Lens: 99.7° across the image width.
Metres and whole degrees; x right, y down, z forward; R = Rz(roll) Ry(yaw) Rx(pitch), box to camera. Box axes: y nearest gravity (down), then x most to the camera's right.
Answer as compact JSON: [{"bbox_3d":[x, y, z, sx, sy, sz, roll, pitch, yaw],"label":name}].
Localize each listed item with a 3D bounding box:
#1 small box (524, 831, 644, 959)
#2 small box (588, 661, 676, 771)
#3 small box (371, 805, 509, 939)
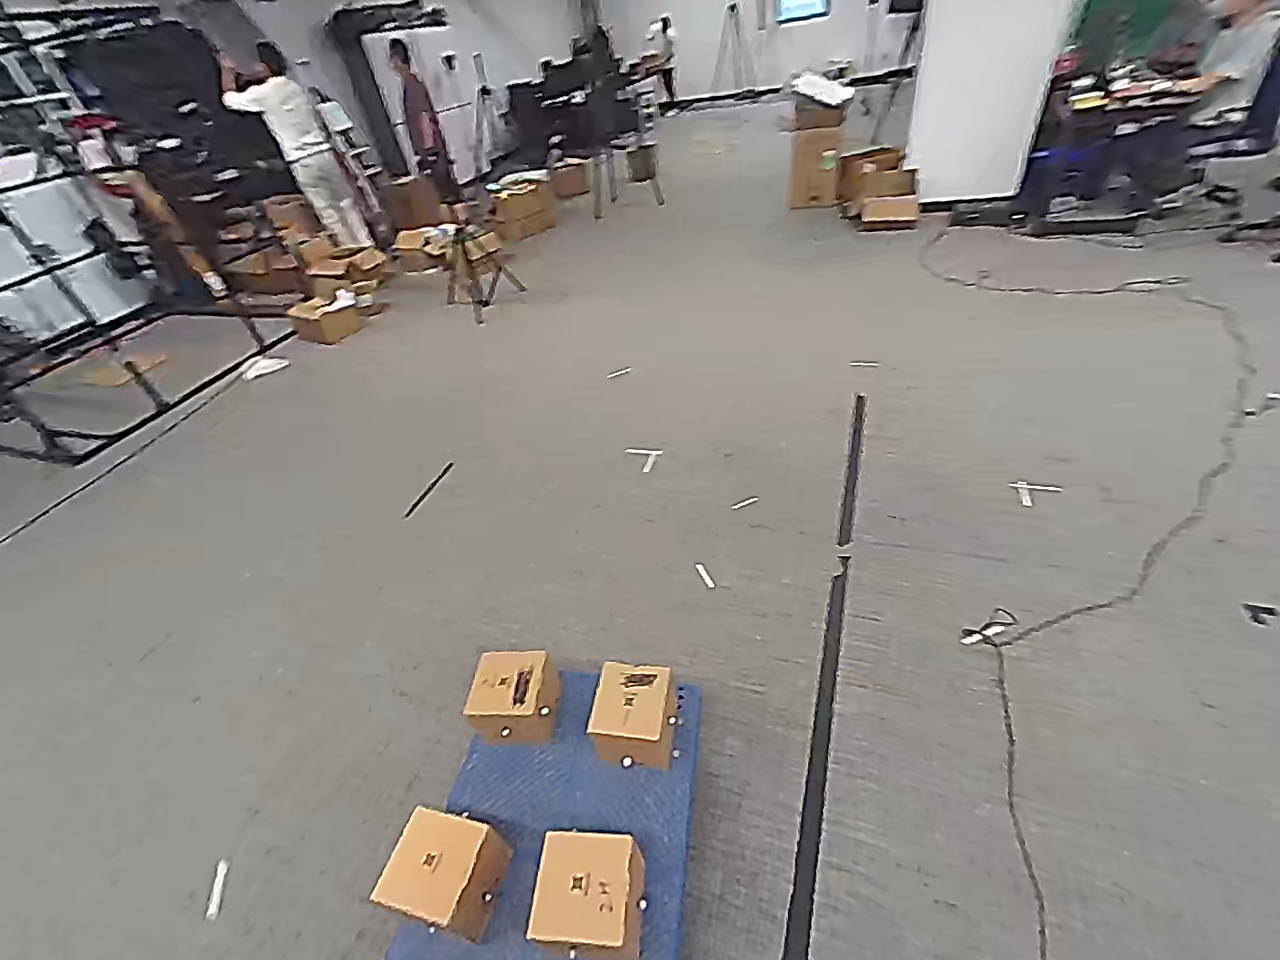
[{"bbox_3d":[-0.098,0.799,1.036,0.179,0.176,0.168,-3,41,10],"label":"small box"},{"bbox_3d":[-0.011,0.563,1.293,0.168,0.176,0.179,1,43,14],"label":"small box"},{"bbox_3d":[-0.397,0.800,1.104,0.179,0.176,0.168,5,42,16],"label":"small box"}]
